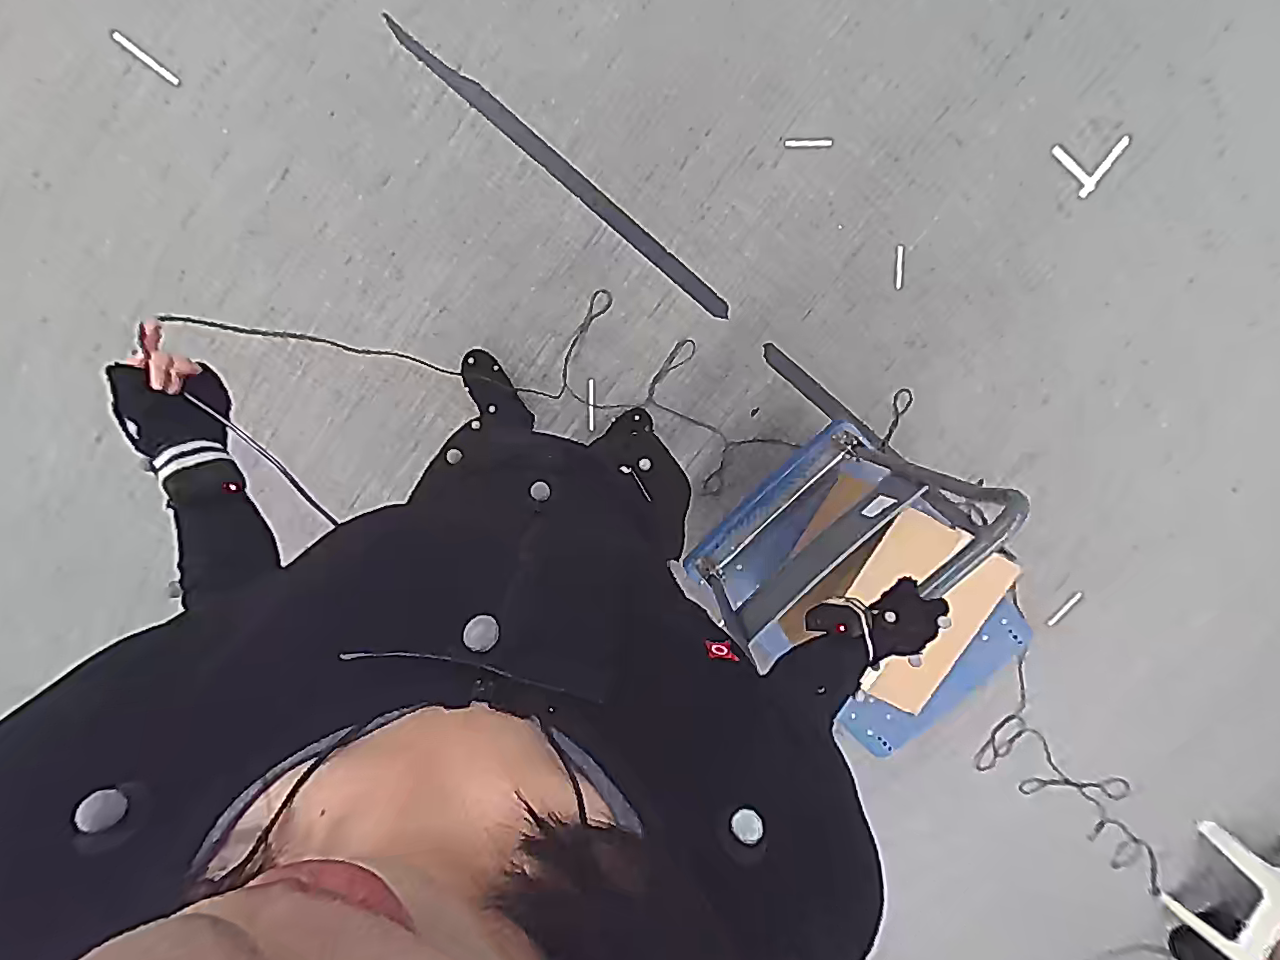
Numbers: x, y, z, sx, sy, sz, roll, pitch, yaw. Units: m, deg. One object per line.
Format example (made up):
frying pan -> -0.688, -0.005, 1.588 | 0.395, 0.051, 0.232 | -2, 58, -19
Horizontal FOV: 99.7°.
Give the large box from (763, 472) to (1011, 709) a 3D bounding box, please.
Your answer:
large box -> 0.561, 0.245, 1.303 | 0.320, 0.320, 0.408 | 27, 101, -9
